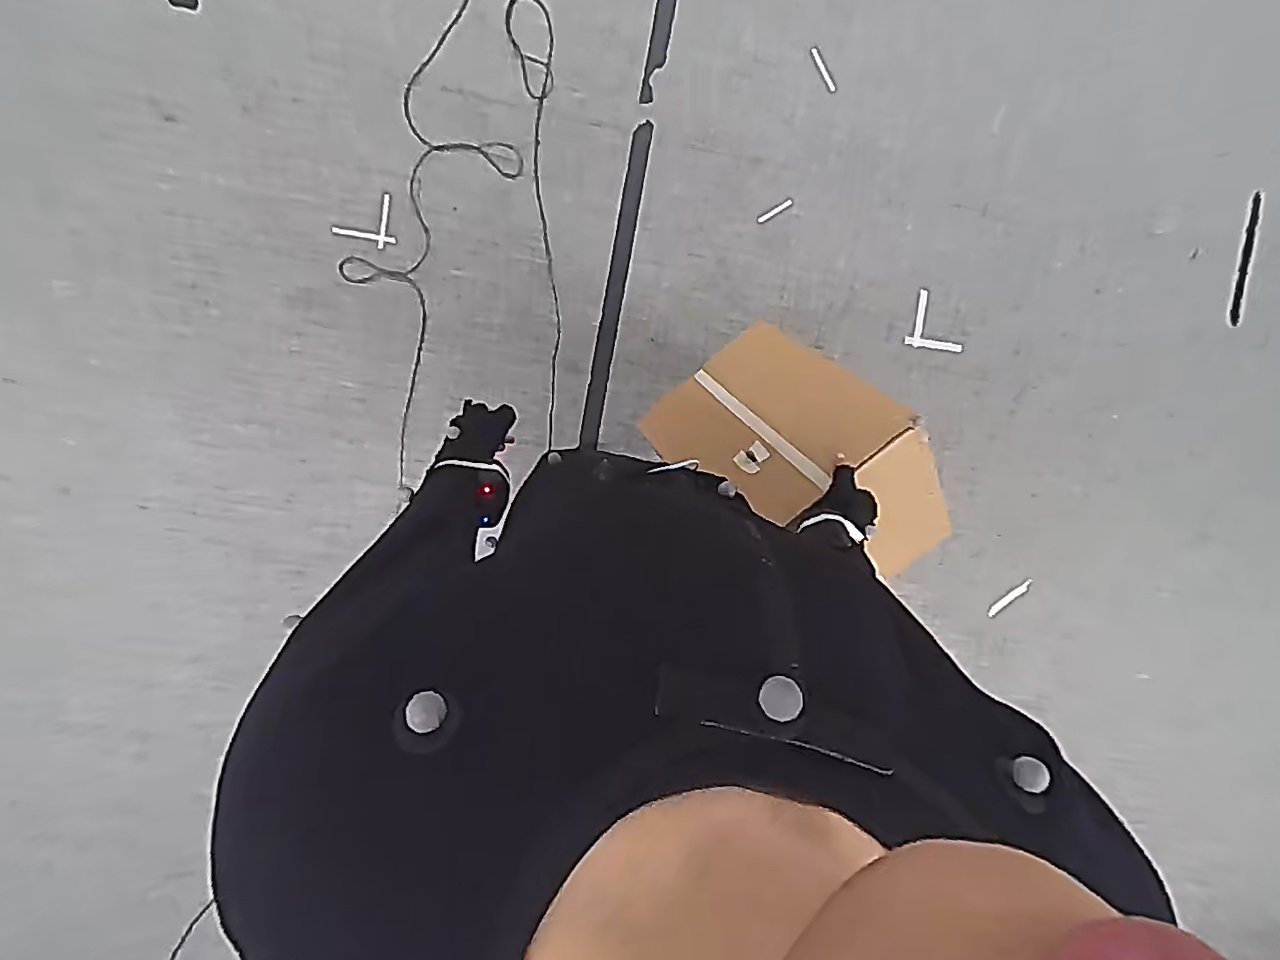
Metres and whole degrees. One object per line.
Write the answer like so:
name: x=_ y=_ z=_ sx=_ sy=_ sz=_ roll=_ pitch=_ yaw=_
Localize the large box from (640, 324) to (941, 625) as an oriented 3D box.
large box: x=0.266 y=-0.018 z=1.004 sx=0.320 sy=0.408 sz=0.320 roll=-40 pitch=133 yaw=5
